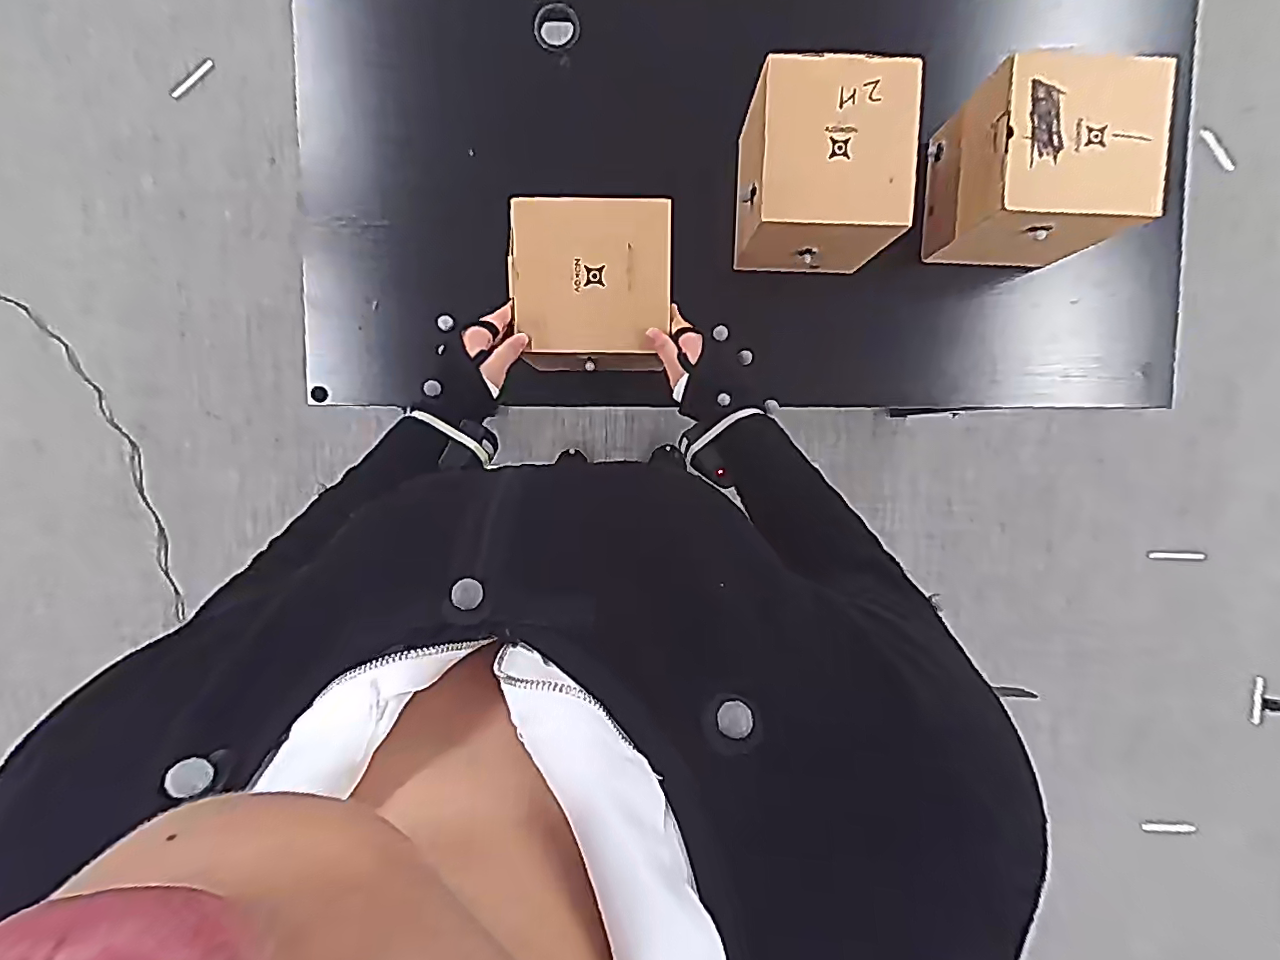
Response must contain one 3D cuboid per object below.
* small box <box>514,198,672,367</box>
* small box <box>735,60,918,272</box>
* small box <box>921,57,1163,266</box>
[{"bbox_3d":[-0.052,-0.234,0.679,0.179,0.176,0.168,-1,95,-1],"label":"small box"},{"bbox_3d":[0.215,-0.370,0.668,0.168,0.176,0.179,2,93,0],"label":"small box"},{"bbox_3d":[0.476,-0.376,0.668,0.179,0.176,0.168,2,94,-1],"label":"small box"}]
